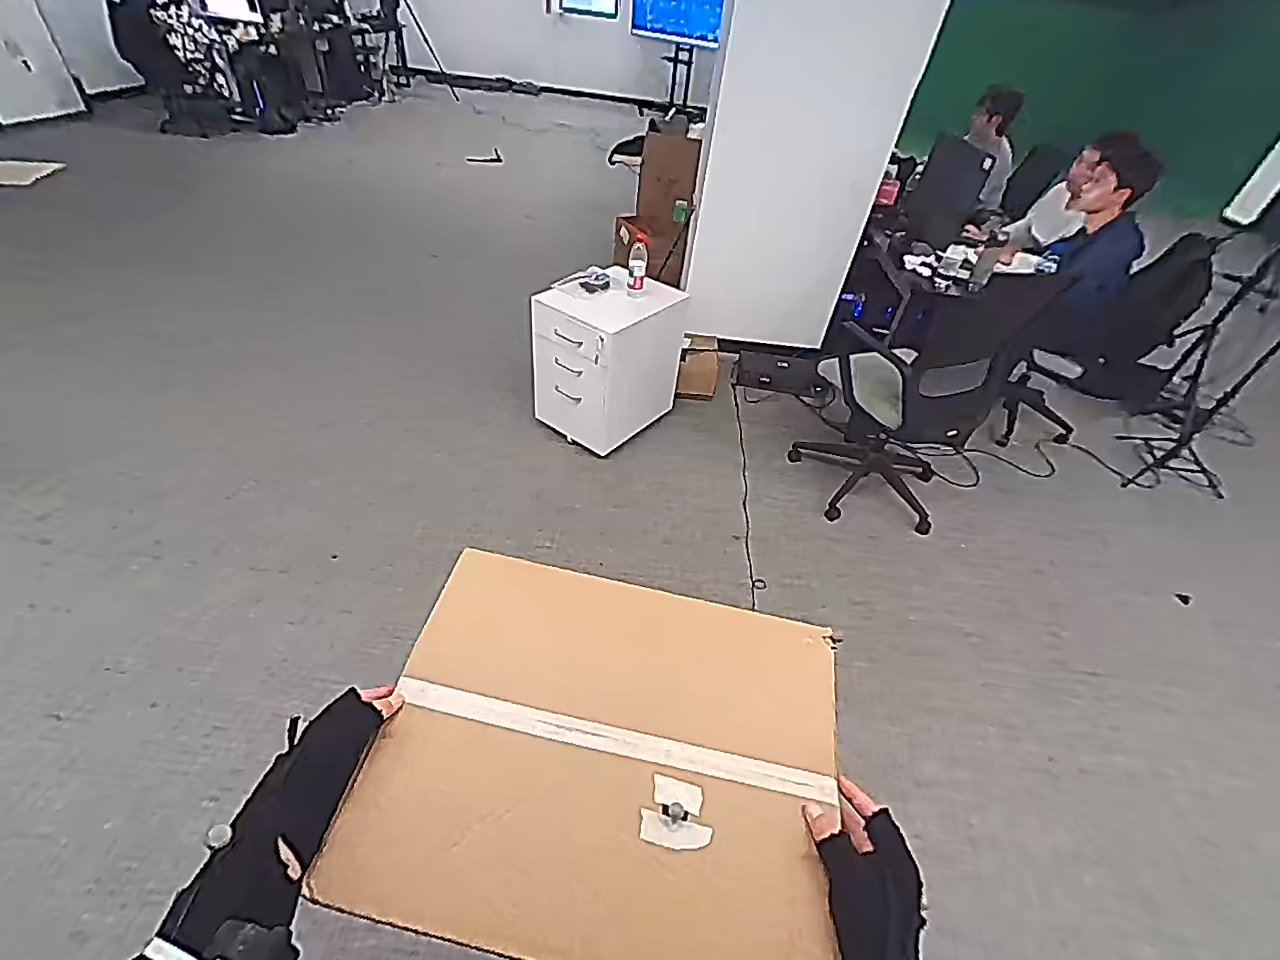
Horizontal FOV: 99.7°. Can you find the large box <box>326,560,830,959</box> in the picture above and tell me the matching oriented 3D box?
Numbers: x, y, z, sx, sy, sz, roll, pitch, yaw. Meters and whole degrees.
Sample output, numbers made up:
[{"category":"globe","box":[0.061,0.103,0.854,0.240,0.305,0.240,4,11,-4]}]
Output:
[{"category":"large box","box":[-0.040,0.334,0.617,0.408,0.320,0.320,12,51,4]}]
